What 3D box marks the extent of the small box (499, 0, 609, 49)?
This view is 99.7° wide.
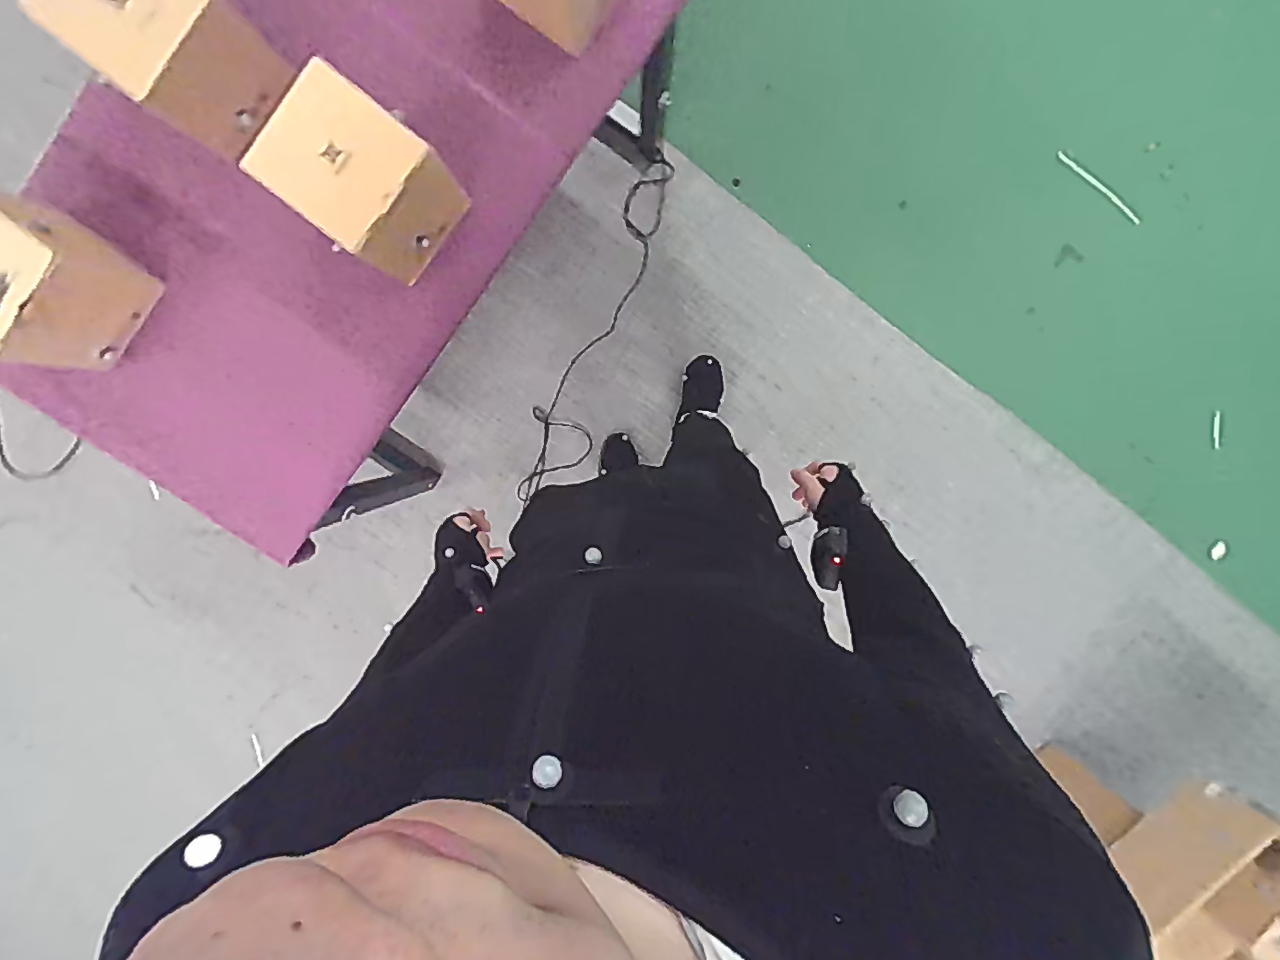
[{"bbox_3d":[-0.124,-0.732,0.710,0.179,0.176,0.168,35,96,-6],"label":"small box"}]

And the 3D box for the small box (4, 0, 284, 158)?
[{"bbox_3d":[-0.632,-0.575,0.715,0.179,0.176,0.168,38,95,-7],"label":"small box"}]

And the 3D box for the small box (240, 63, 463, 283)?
[{"bbox_3d":[-0.380,-0.401,0.746,0.179,0.176,0.168,37,94,-5],"label":"small box"}]

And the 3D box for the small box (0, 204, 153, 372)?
[{"bbox_3d":[-0.844,-0.264,0.742,0.179,0.176,0.168,36,94,-7],"label":"small box"}]
